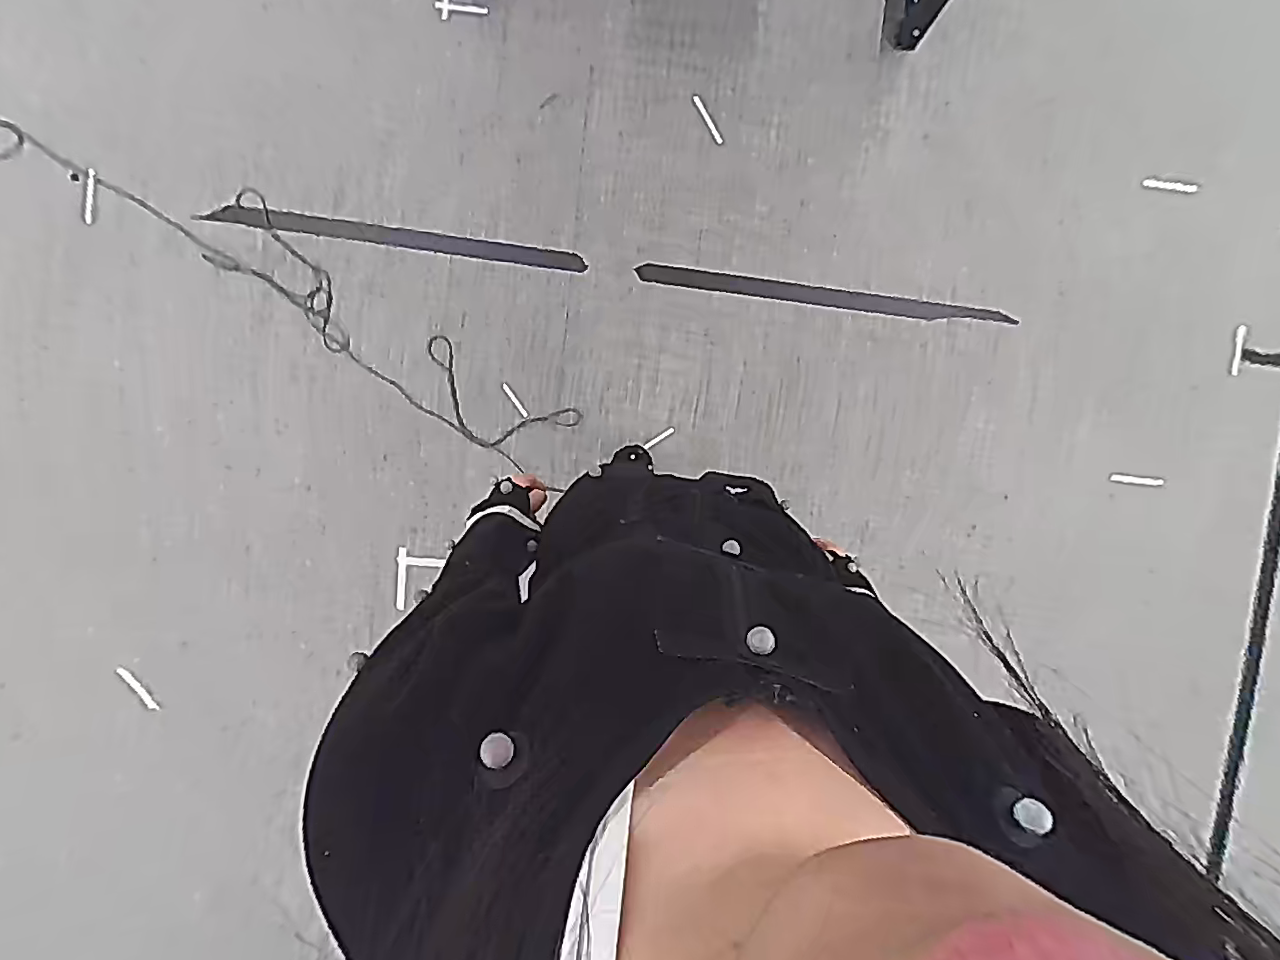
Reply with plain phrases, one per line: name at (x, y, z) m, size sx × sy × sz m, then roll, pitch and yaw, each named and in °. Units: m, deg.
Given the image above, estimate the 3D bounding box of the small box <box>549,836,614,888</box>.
small box at (-0.155, 1.093, 1.458) m, size 0.168 × 0.176 × 0.179 m, roll -1°, pitch 93°, yaw -1°

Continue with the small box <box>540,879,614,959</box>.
small box at (-0.146, 1.105, 1.294) m, size 0.168 × 0.176 × 0.179 m, roll 1°, pitch 94°, yaw -3°
